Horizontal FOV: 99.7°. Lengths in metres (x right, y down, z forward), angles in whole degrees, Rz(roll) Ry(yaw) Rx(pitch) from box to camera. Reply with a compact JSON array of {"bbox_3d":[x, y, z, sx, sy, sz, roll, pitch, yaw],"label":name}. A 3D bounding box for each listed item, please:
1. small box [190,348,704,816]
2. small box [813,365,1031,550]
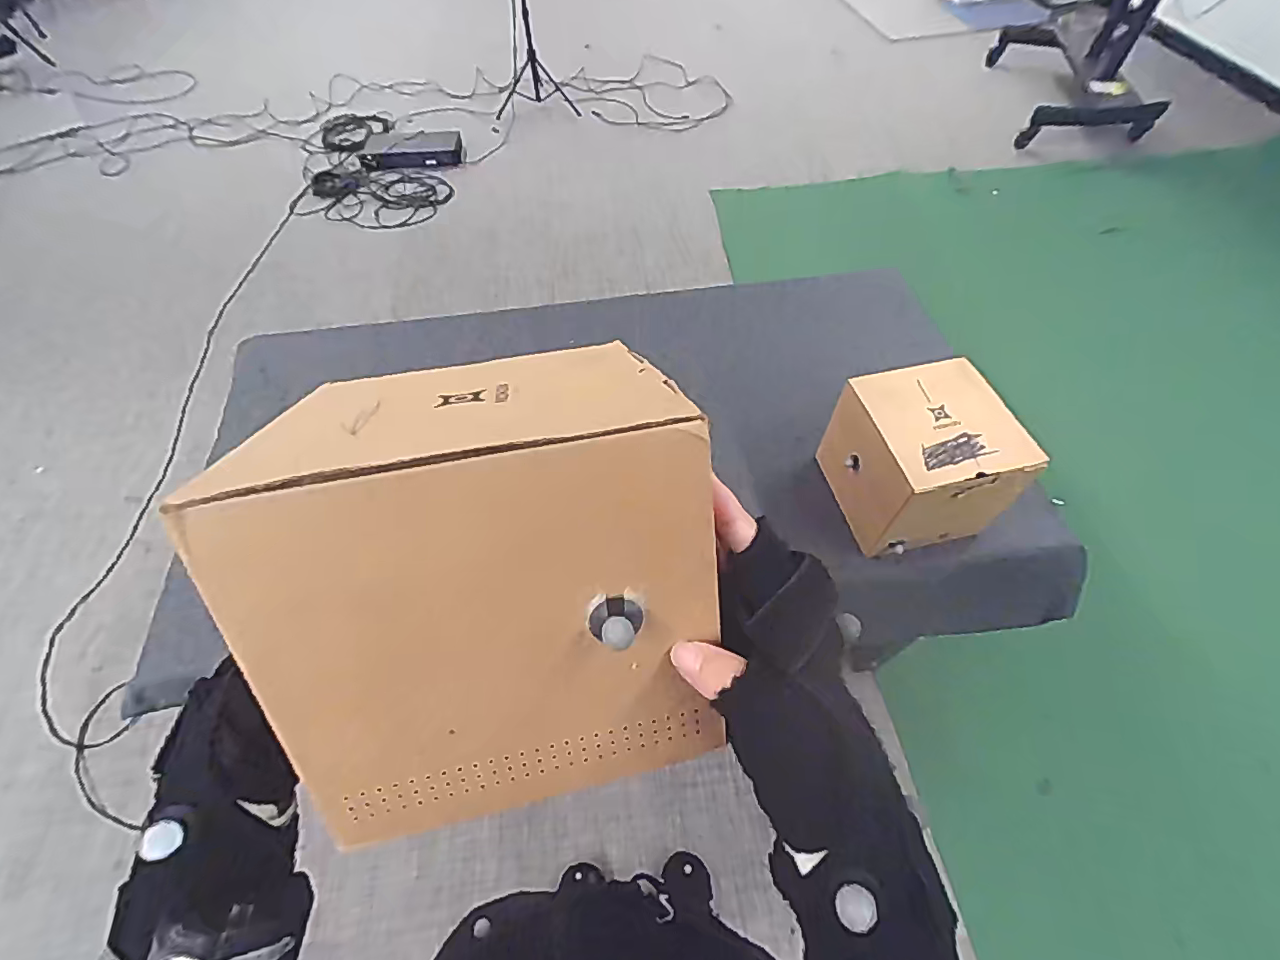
[{"bbox_3d":[-0.071,0.036,0.291,0.179,0.176,0.168,-10,23,-9],"label":"small box"},{"bbox_3d":[0.353,-0.021,0.720,0.168,0.176,0.179,-10,56,-6],"label":"small box"}]
